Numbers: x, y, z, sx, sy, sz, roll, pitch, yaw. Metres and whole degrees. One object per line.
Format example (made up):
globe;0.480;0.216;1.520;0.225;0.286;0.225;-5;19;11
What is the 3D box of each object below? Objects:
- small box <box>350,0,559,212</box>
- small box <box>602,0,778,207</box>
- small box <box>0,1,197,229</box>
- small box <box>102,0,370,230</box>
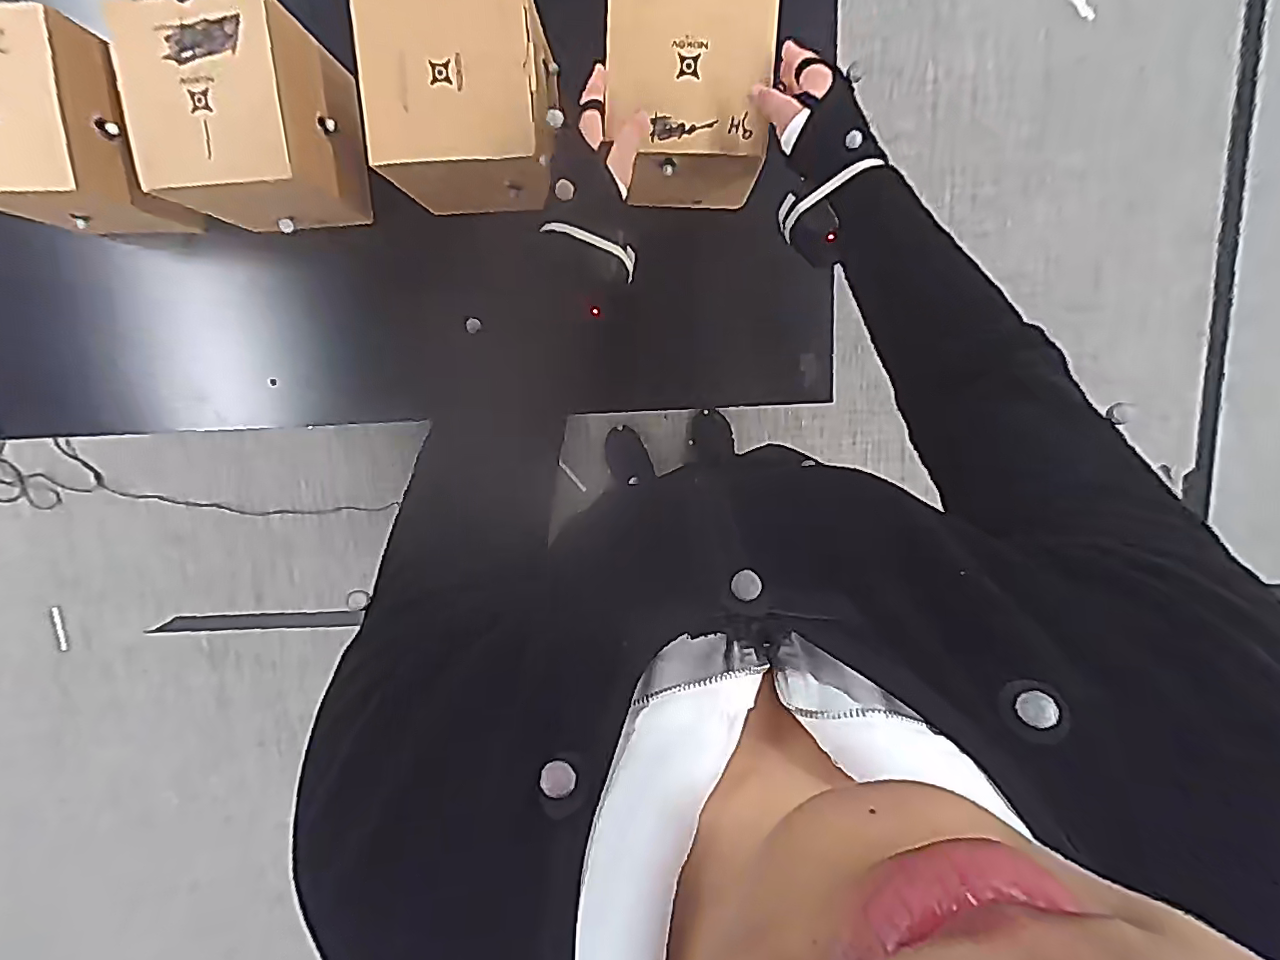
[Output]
small box;-0.191;-0.420;0.614;0.179;0.176;0.168;-3;99;3
small box;0.049;-0.429;0.603;0.168;0.176;0.179;3;99;2
small box;-0.664;-0.402;0.628;0.168;0.176;0.179;0;100;1
small box;-0.440;-0.406;0.621;0.168;0.176;0.179;-4;102;2
